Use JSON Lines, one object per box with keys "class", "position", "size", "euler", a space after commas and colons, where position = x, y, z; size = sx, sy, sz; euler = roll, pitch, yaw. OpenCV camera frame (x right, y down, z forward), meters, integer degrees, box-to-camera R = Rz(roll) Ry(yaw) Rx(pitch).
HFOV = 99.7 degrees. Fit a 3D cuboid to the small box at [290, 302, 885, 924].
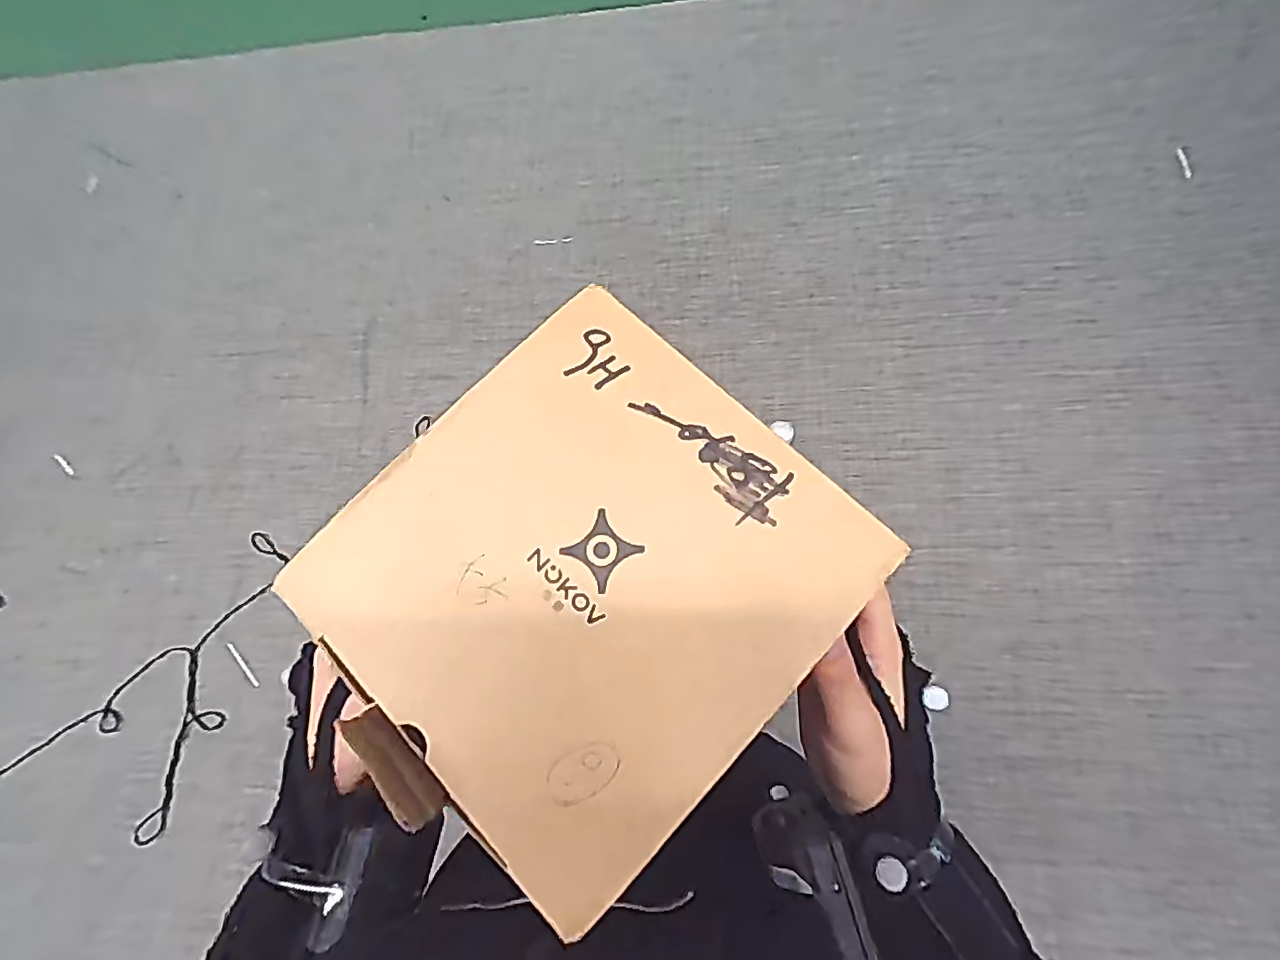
{"class": "small box", "position": [-0.018, 0.055, 0.283], "size": [0.168, 0.176, 0.179], "euler": [43, 82, 12]}
